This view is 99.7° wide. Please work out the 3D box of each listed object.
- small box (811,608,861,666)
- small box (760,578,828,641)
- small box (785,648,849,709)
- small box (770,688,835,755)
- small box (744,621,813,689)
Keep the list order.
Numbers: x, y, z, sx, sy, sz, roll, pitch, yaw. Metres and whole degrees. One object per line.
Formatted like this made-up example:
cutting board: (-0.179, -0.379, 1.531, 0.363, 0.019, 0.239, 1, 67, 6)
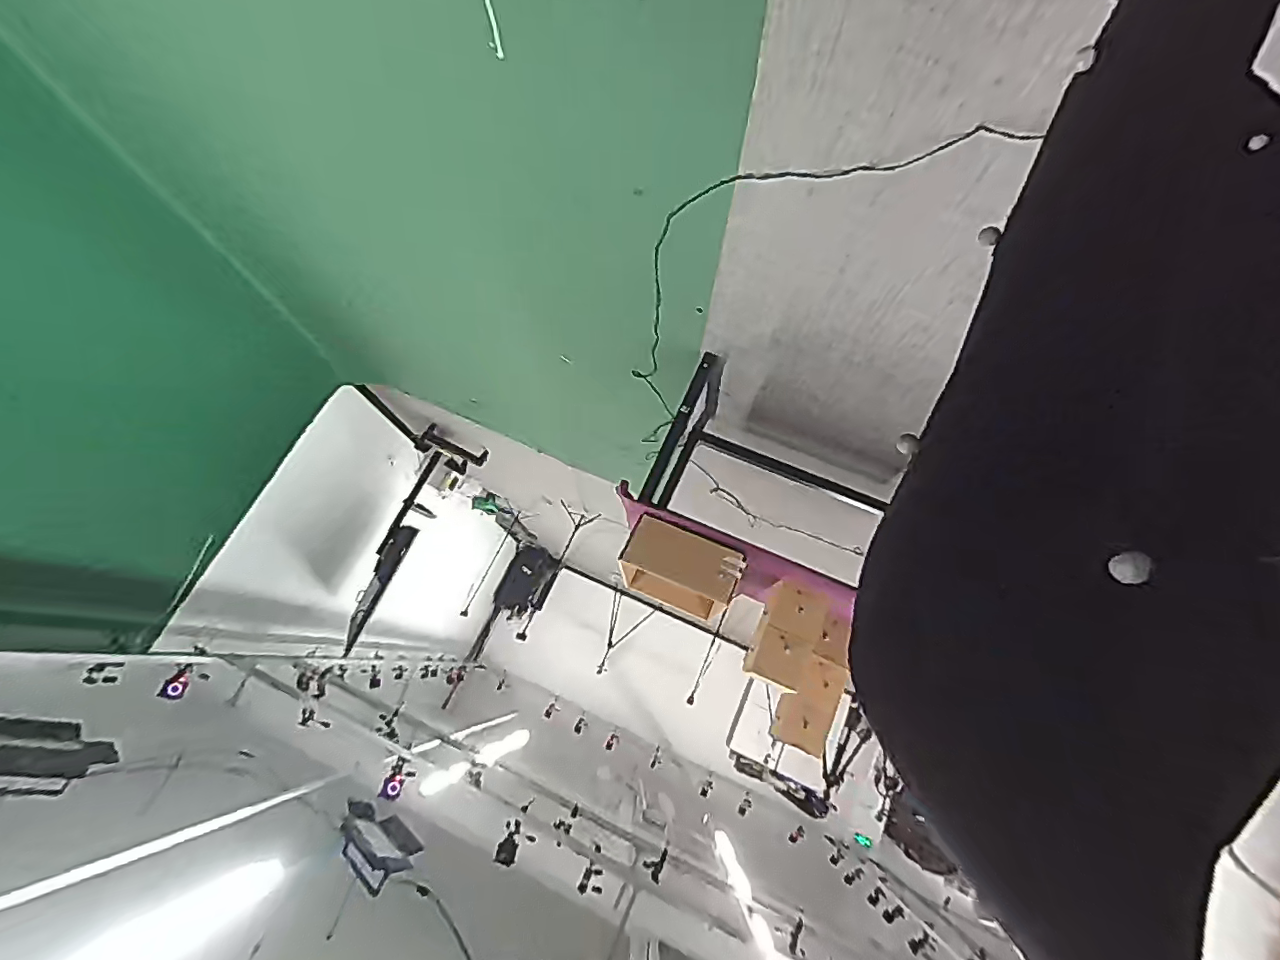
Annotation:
small box: (0.734, 0.602, 2.089, 0.168, 0.176, 0.179, 24, 163, 9)
small box: (0.544, 0.456, 1.905, 0.168, 0.176, 0.179, 24, 164, 8)
small box: (0.668, 0.741, 2.037, 0.168, 0.176, 0.179, 23, 163, 9)
small box: (0.600, 0.884, 1.995, 0.168, 0.176, 0.179, 23, 163, 10)
small box: (0.476, 0.597, 1.859, 0.168, 0.176, 0.179, 23, 163, 8)
